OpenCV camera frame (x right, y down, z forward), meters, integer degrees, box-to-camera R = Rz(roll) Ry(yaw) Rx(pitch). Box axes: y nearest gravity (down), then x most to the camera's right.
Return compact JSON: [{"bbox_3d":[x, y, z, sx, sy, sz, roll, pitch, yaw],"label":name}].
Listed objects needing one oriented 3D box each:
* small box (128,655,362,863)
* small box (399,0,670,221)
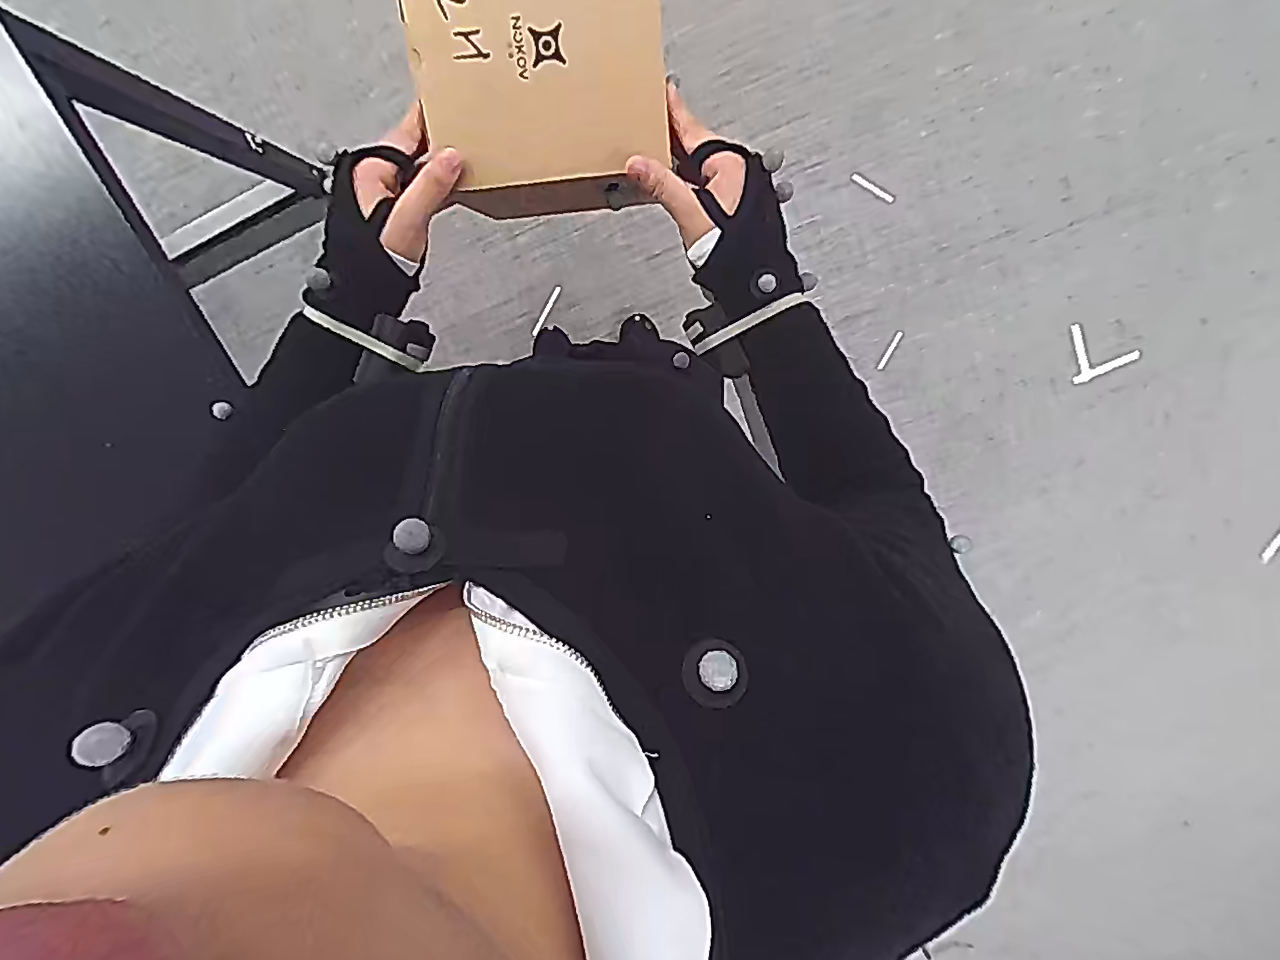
[{"bbox_3d":[-0.544,0.389,0.776,0.168,0.176,0.179,-24,104,6],"label":"small box"},{"bbox_3d":[-0.071,-0.318,0.445,0.179,0.176,0.168,-4,109,3],"label":"small box"}]
